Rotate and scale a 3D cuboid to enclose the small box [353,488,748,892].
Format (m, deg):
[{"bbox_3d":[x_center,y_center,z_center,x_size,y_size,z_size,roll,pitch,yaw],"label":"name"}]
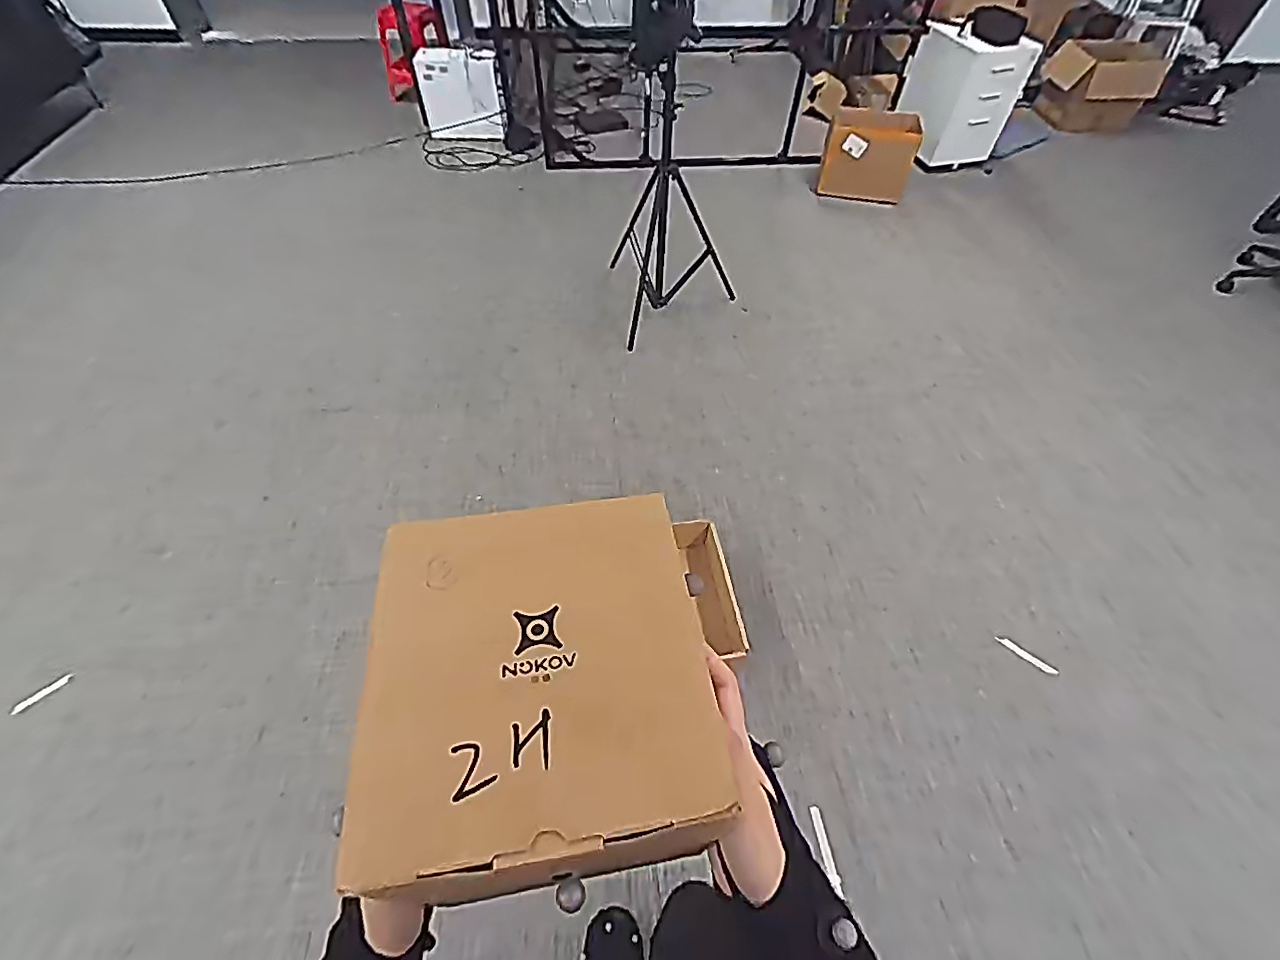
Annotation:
[{"bbox_3d":[-0.049,0.130,0.335,0.168,0.176,0.179,-7,52,-7],"label":"small box"}]
